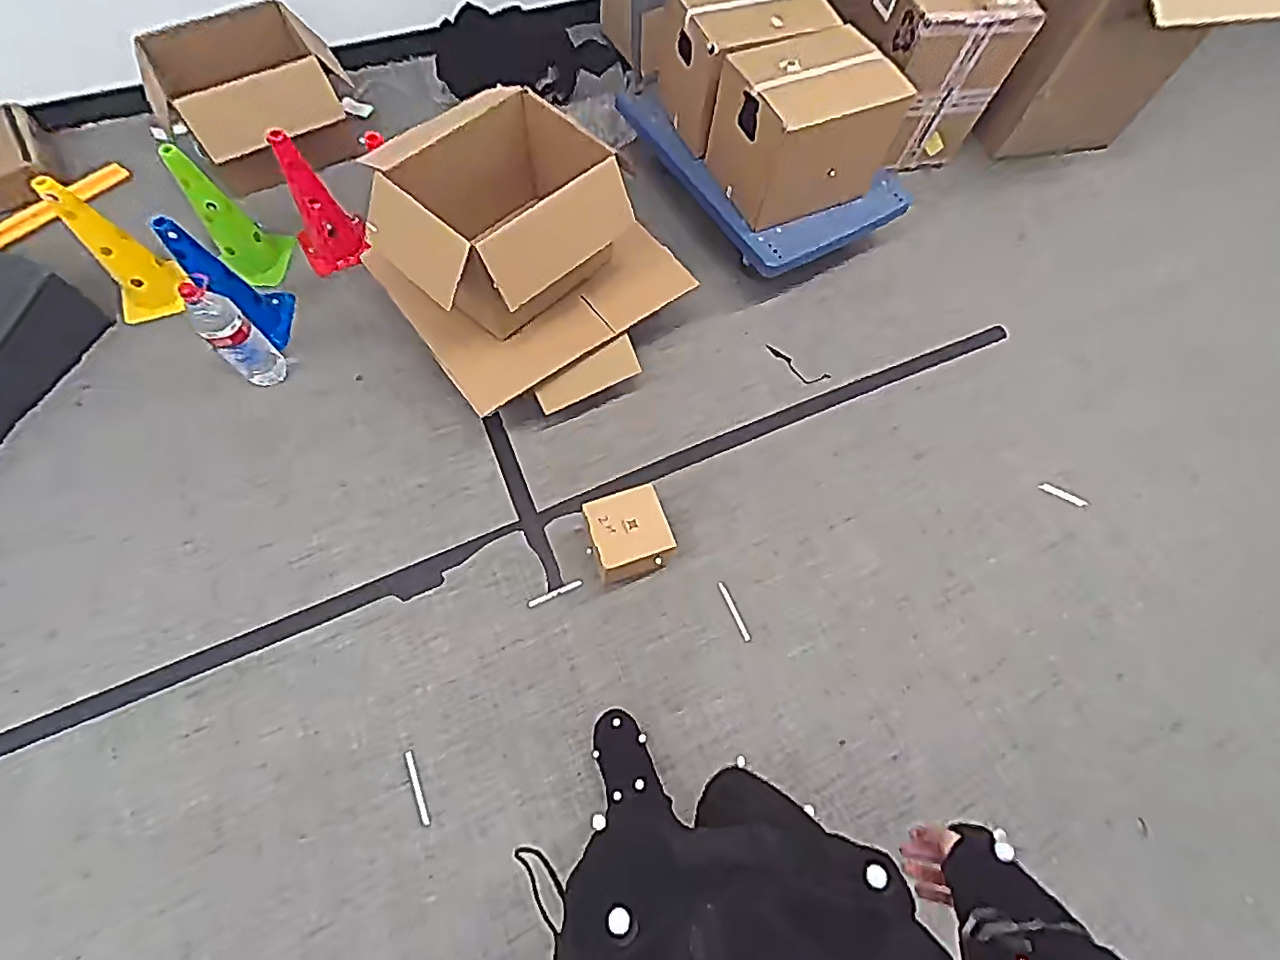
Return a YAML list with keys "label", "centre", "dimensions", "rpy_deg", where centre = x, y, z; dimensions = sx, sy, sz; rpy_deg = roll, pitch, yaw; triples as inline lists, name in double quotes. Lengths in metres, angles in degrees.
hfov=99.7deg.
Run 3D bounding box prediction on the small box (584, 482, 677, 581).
- label: "small box"
  centre: [-0.030, 0.128, 1.300]
  dimensions: [0.179, 0.176, 0.168]
  rpy_deg: [-17, 70, -12]
